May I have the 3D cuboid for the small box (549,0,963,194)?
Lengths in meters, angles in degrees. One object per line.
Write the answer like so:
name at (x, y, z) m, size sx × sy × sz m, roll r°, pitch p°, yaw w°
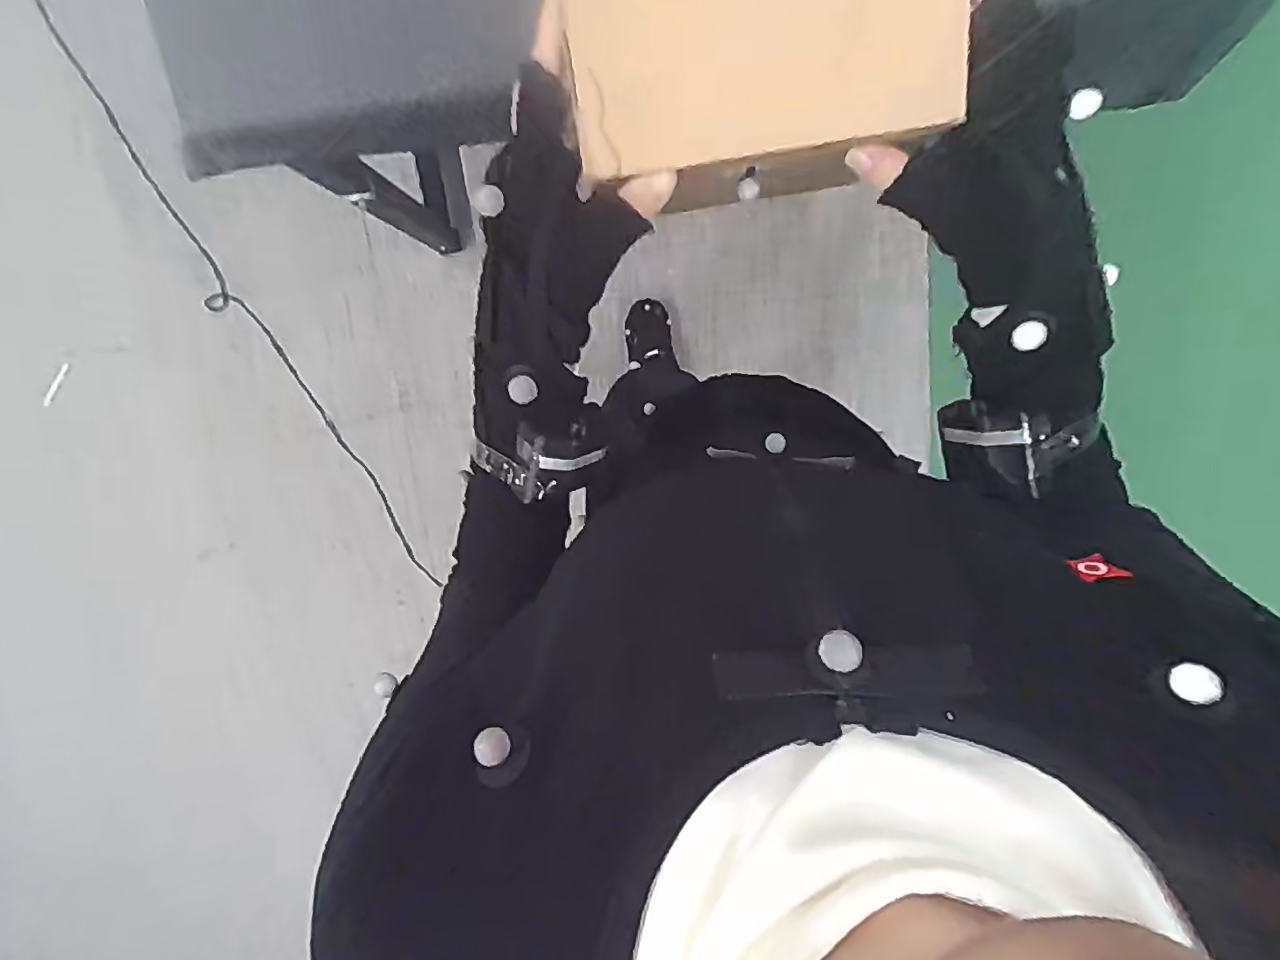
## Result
small box at (0.049, -0.266, 0.293) m, size 0.179 × 0.176 × 0.168 m, roll -6°, pitch 111°, yaw 6°
